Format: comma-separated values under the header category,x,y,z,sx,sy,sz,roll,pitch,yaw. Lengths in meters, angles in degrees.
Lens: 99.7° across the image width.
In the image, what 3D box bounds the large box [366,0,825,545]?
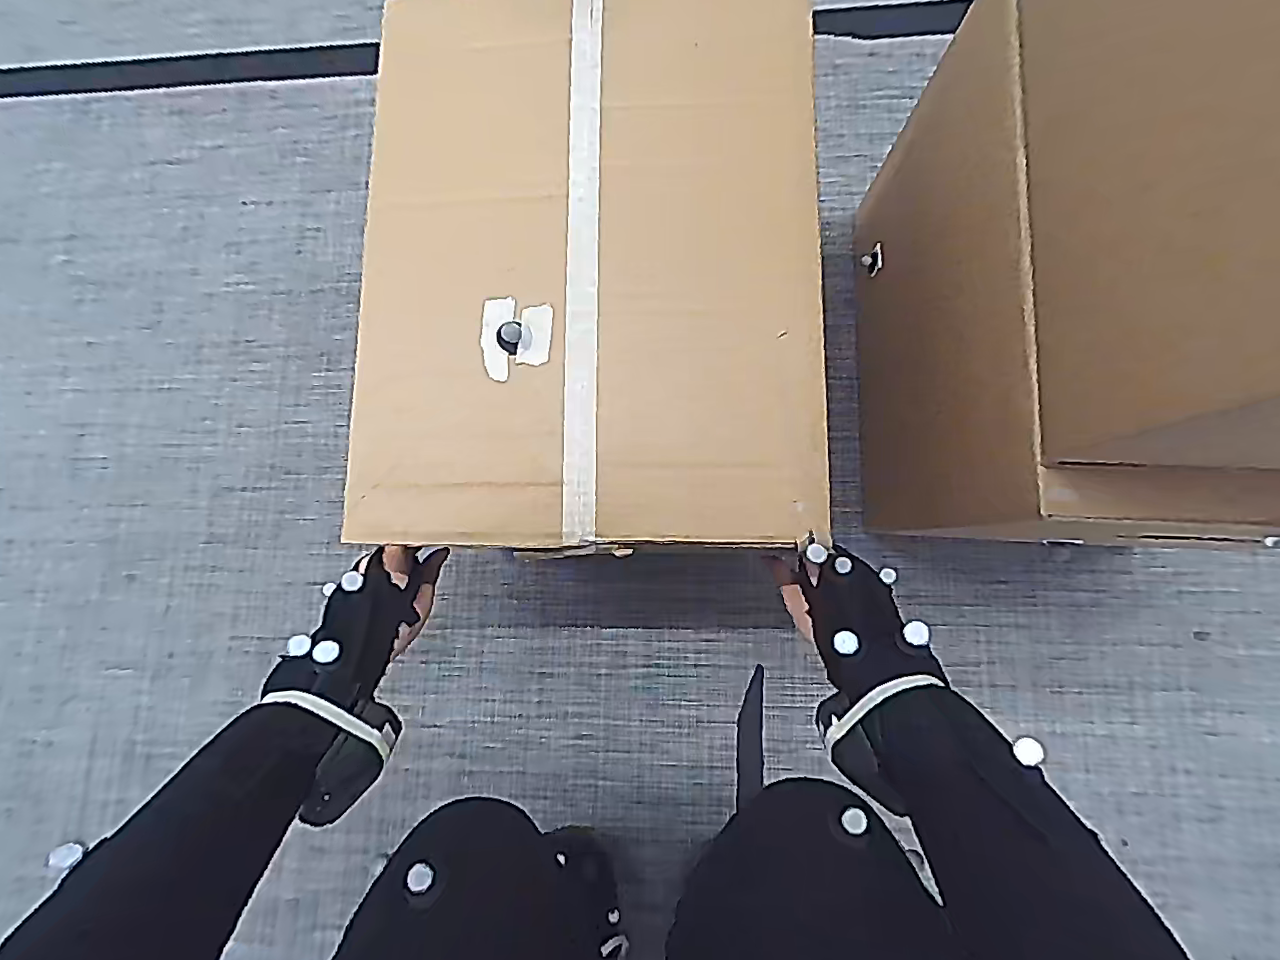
category,x,y,z,sx,sy,sz,roll,pitch,yaw
large box,-0.030,-0.143,0.526,0.320,0.320,0.408,-1,83,4
